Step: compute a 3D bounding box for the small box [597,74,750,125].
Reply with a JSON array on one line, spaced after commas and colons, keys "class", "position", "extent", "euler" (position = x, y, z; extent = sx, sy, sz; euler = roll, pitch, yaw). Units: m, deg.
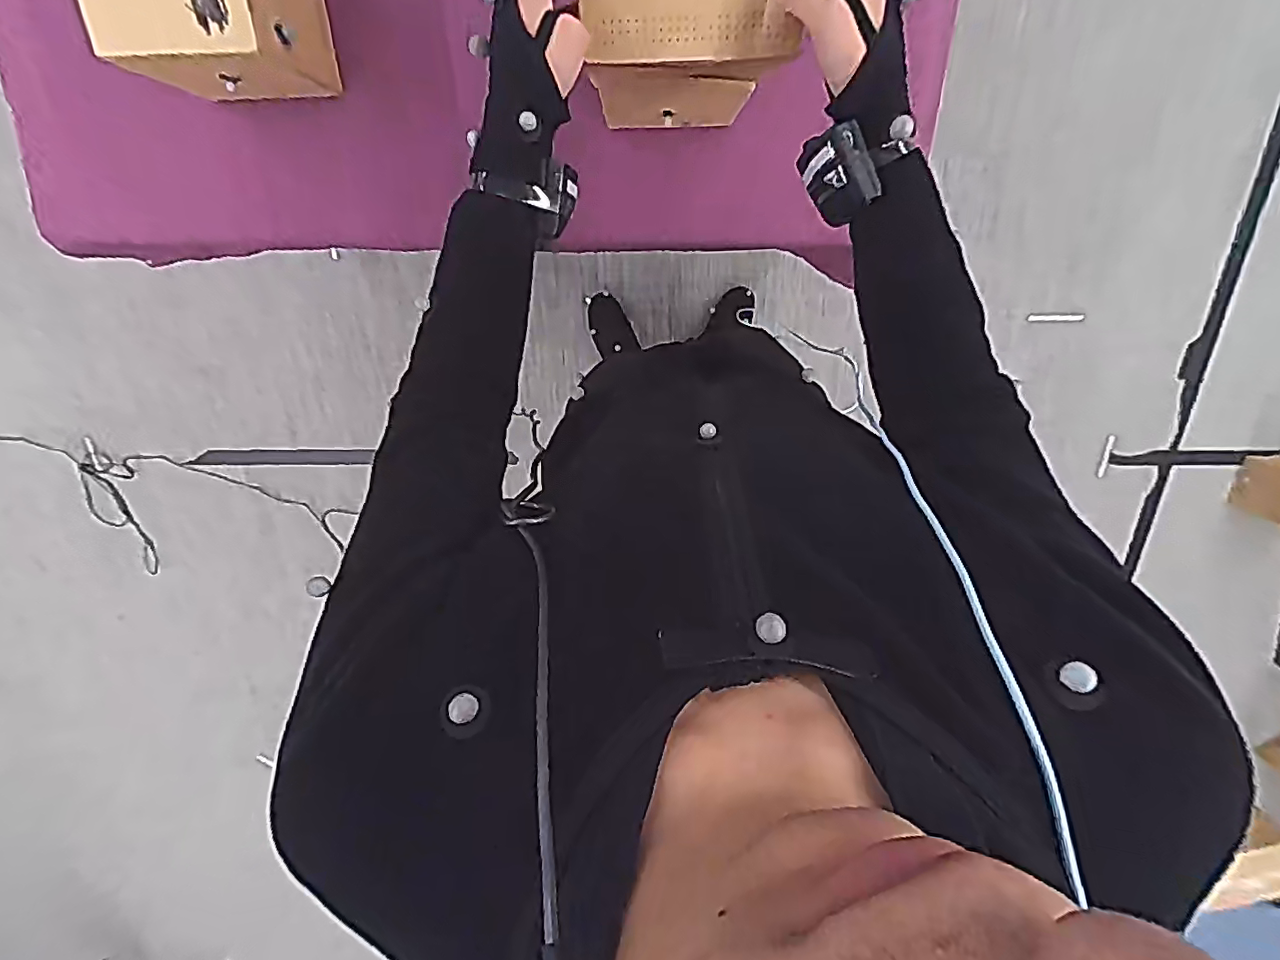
[{"class": "small box", "position": [0.038, -0.521, 0.615], "extent": [0.168, 0.176, 0.179], "euler": [0, 112, 0]}]

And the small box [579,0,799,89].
[{"class": "small box", "position": [0.038, -0.443, 0.457], "extent": [0.179, 0.168, 0.176], "euler": [-1, 122, 0]}]
